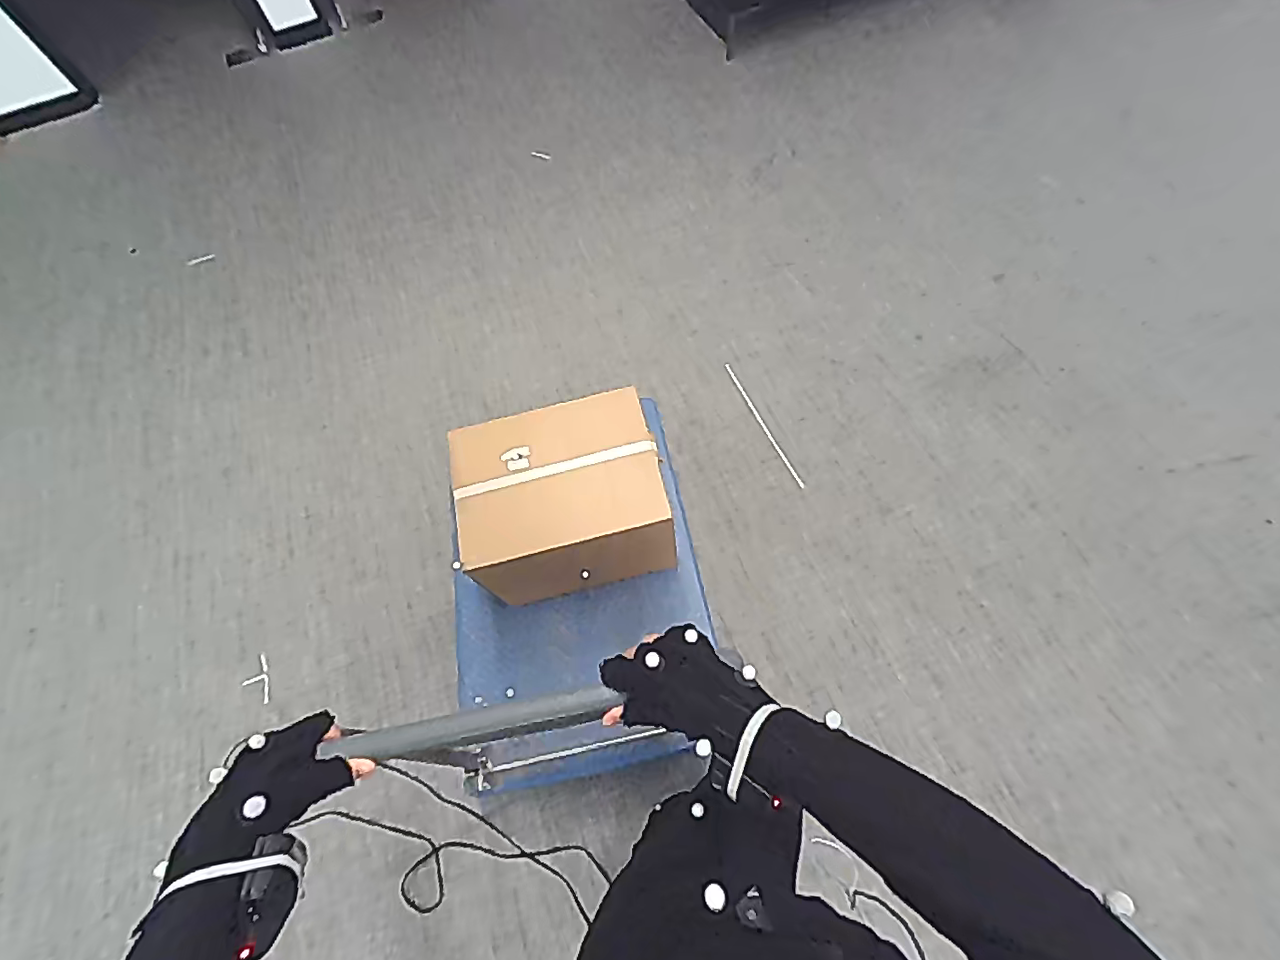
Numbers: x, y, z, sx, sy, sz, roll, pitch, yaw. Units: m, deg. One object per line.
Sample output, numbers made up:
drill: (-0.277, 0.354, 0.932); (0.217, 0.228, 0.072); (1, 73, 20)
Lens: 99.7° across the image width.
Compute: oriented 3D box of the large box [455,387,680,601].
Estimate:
large box: (-0.145, 0.047, 1.207); (0.408, 0.320, 0.320); (-15, 64, -1)
